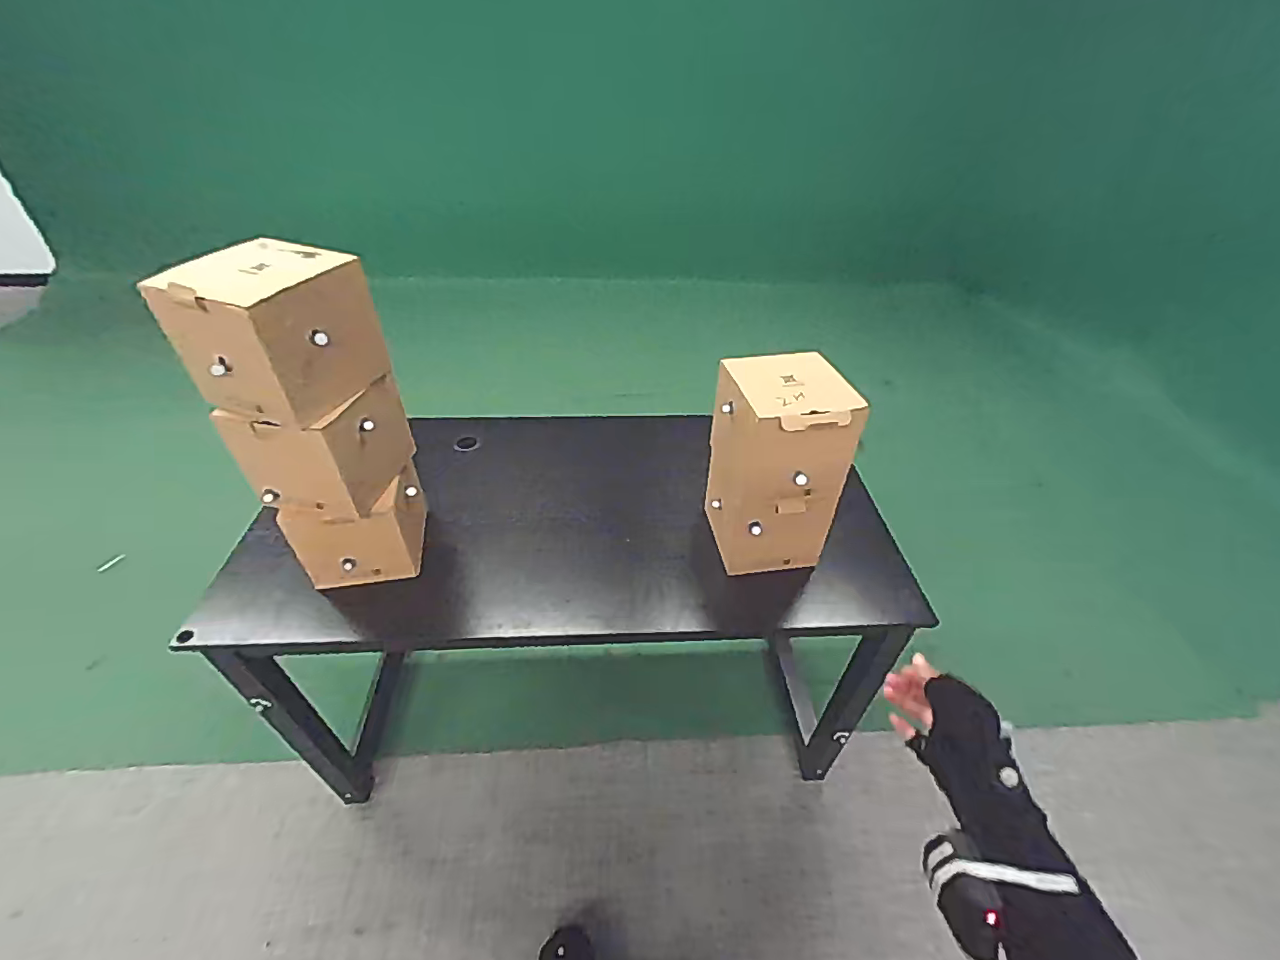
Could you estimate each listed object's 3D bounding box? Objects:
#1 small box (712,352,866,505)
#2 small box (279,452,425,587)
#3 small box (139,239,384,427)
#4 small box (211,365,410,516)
[{"bbox_3d":[0.220,-0.083,0.855,0.168,0.176,0.179,-7,42,-8],"label":"small box"},{"bbox_3d":[-0.476,0.056,0.926,0.168,0.176,0.179,-7,43,-10],"label":"small box"},{"bbox_3d":[-0.473,-0.194,0.712,0.168,0.176,0.179,16,45,13],"label":"small box"},{"bbox_3d":[-0.475,-0.067,0.817,0.168,0.176,0.179,8,42,6],"label":"small box"}]
